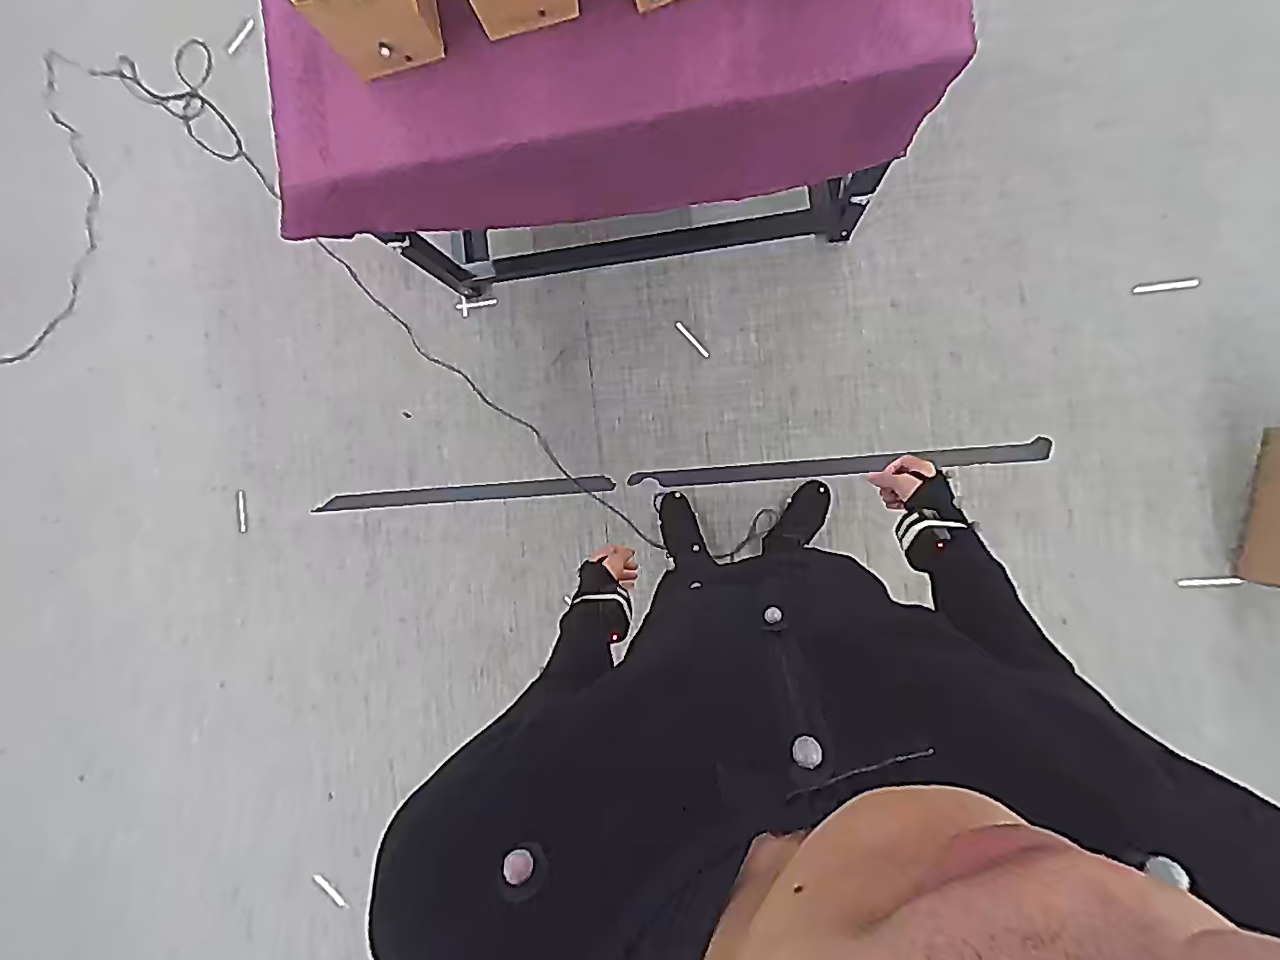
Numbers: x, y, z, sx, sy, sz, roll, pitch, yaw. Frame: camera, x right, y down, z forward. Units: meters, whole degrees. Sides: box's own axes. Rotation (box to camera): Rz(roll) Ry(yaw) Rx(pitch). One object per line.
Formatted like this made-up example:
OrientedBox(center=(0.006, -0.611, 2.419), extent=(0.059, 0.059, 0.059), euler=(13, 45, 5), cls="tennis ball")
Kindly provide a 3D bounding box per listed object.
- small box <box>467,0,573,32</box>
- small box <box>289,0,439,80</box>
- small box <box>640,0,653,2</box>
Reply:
OrientedBox(center=(-0.212, -0.865, 0.859), extent=(0.168, 0.176, 0.179), euler=(-8, 89, 8), cls="small box")
OrientedBox(center=(-0.457, -0.820, 0.892), extent=(0.168, 0.176, 0.179), euler=(-10, 90, 9), cls="small box")
OrientedBox(center=(0.037, -0.887, 0.822), extent=(0.168, 0.176, 0.179), euler=(-14, 88, 8), cls="small box")
